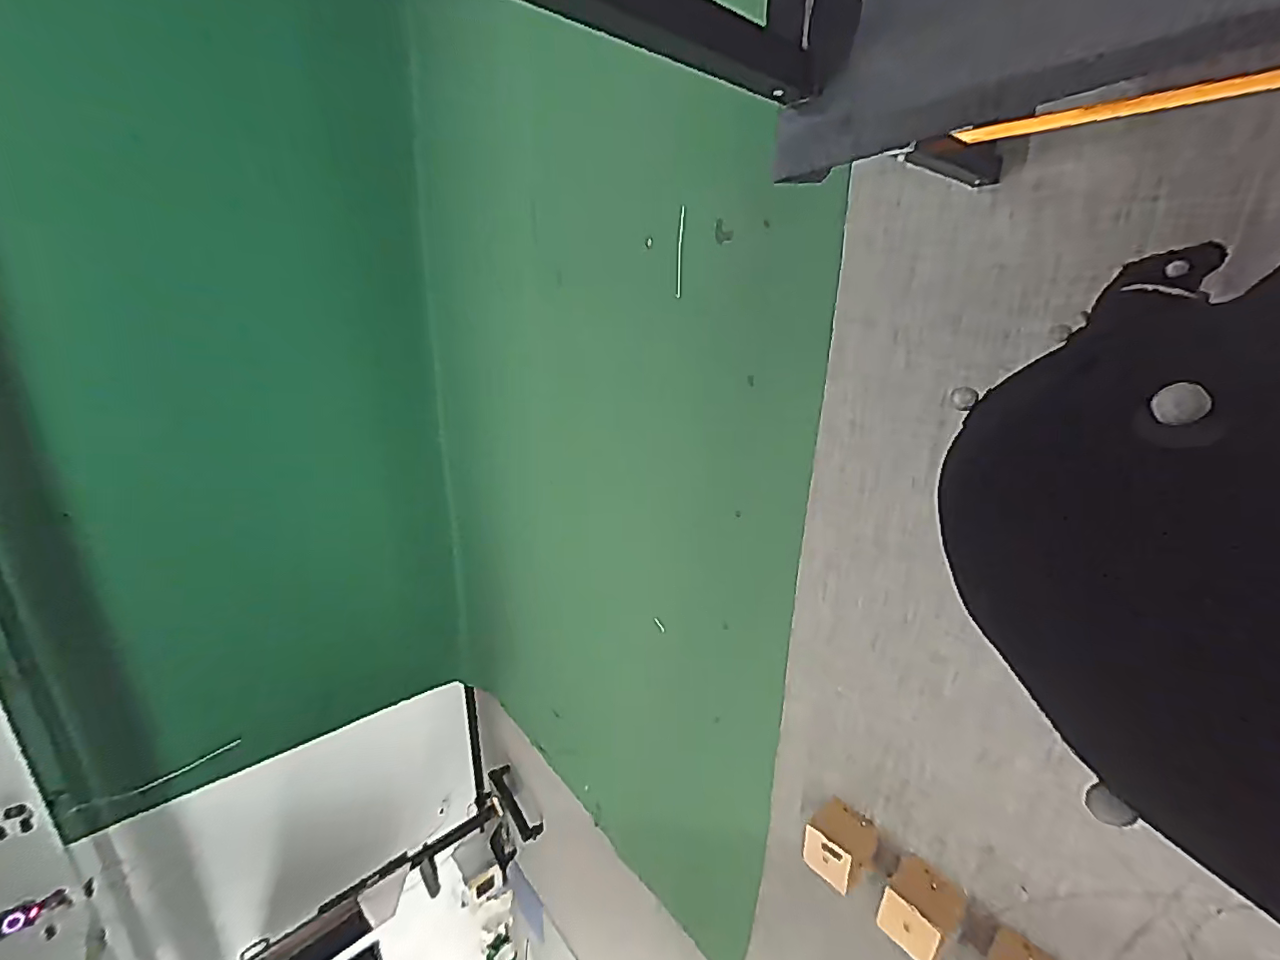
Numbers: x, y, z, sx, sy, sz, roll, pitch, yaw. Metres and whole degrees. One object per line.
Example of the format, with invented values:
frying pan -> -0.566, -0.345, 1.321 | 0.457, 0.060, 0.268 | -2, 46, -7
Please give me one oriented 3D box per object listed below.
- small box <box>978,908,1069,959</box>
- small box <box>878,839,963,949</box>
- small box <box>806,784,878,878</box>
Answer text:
small box -> 1.043, 1.348, 1.484 | 0.168, 0.176, 0.179 | 21, 117, 45
small box -> 0.873, 1.277, 1.679 | 0.168, 0.176, 0.179 | 24, 119, 46
small box -> 0.701, 1.206, 1.873 | 0.168, 0.176, 0.179 | 20, 117, 47
